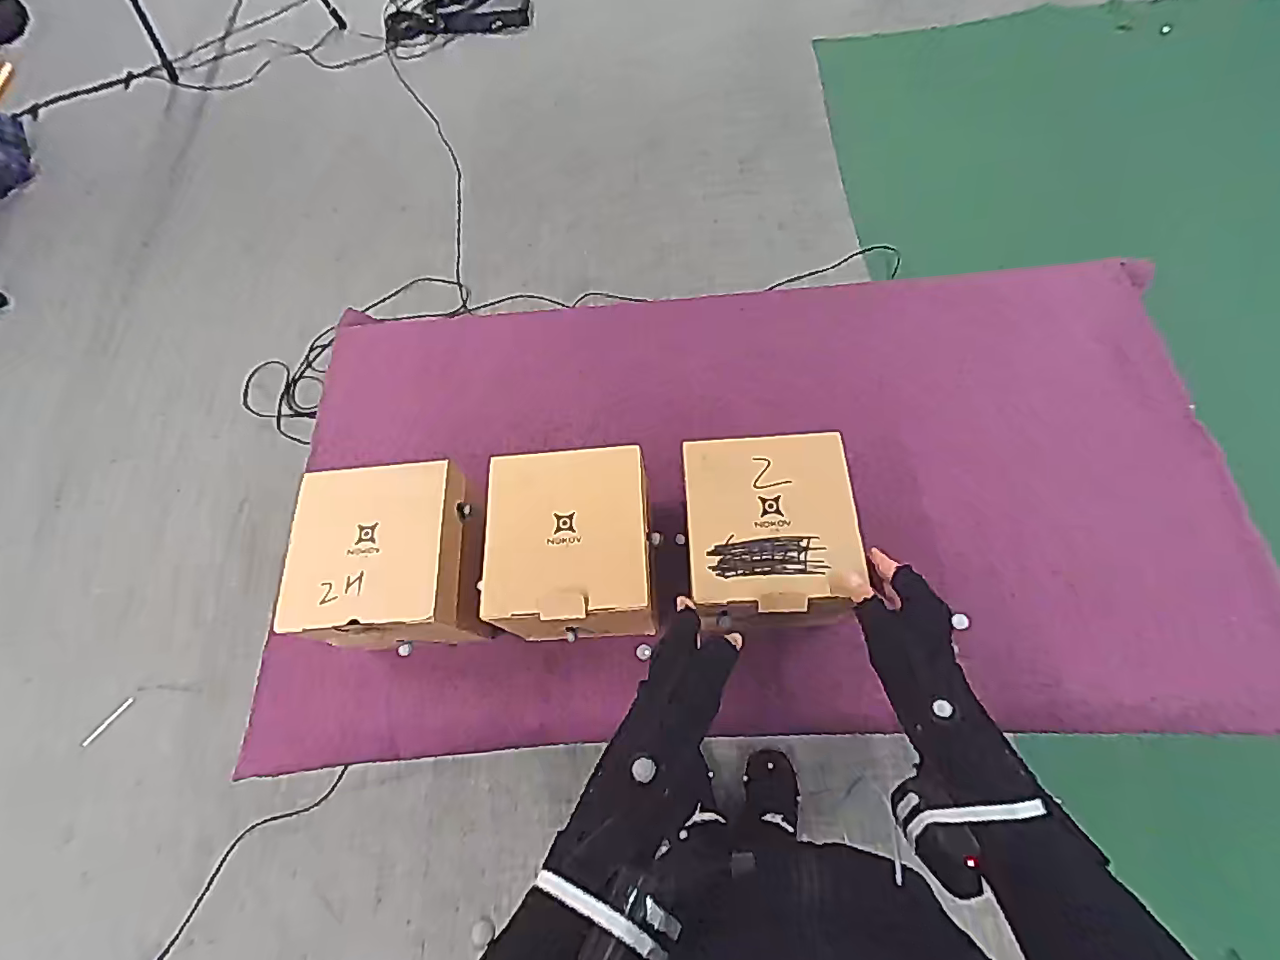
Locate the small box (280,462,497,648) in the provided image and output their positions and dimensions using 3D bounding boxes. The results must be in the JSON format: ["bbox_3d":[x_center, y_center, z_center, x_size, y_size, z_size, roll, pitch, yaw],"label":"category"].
[{"bbox_3d":[-0.278,0.096,0.642,0.168,0.176,0.179,-5,67,3],"label":"small box"}]
